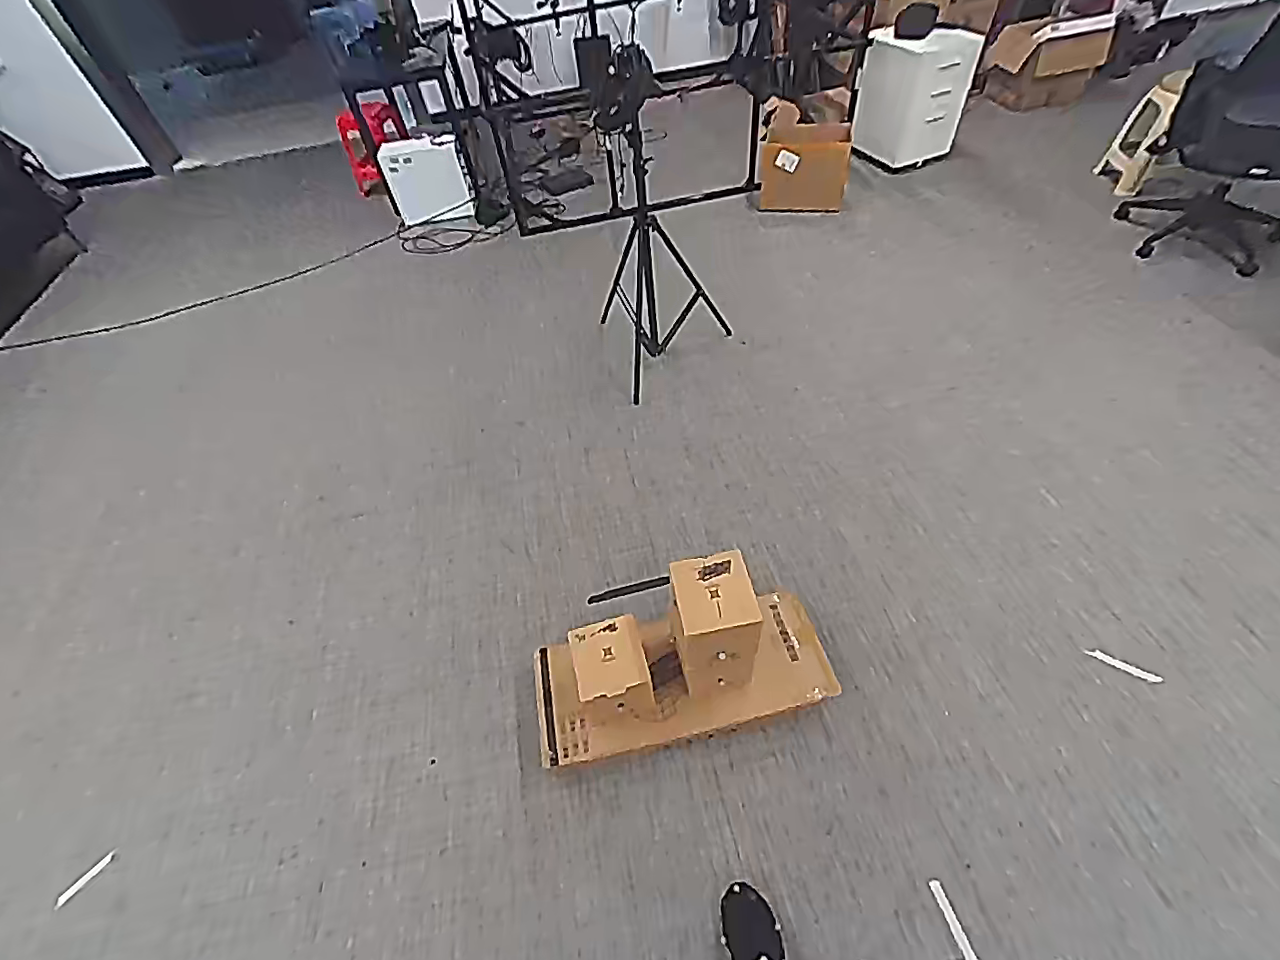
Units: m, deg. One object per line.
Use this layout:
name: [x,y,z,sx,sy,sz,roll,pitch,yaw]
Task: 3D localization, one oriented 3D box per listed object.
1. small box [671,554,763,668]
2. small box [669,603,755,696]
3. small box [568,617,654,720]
small box: [0.165,0.293,1.208,0.168,0.176,0.179,-11,50,-2]
small box: [0.172,0.402,1.331,0.168,0.176,0.179,-14,49,-4]
small box: [-0.067,0.463,1.309,0.168,0.176,0.179,-15,50,-5]
